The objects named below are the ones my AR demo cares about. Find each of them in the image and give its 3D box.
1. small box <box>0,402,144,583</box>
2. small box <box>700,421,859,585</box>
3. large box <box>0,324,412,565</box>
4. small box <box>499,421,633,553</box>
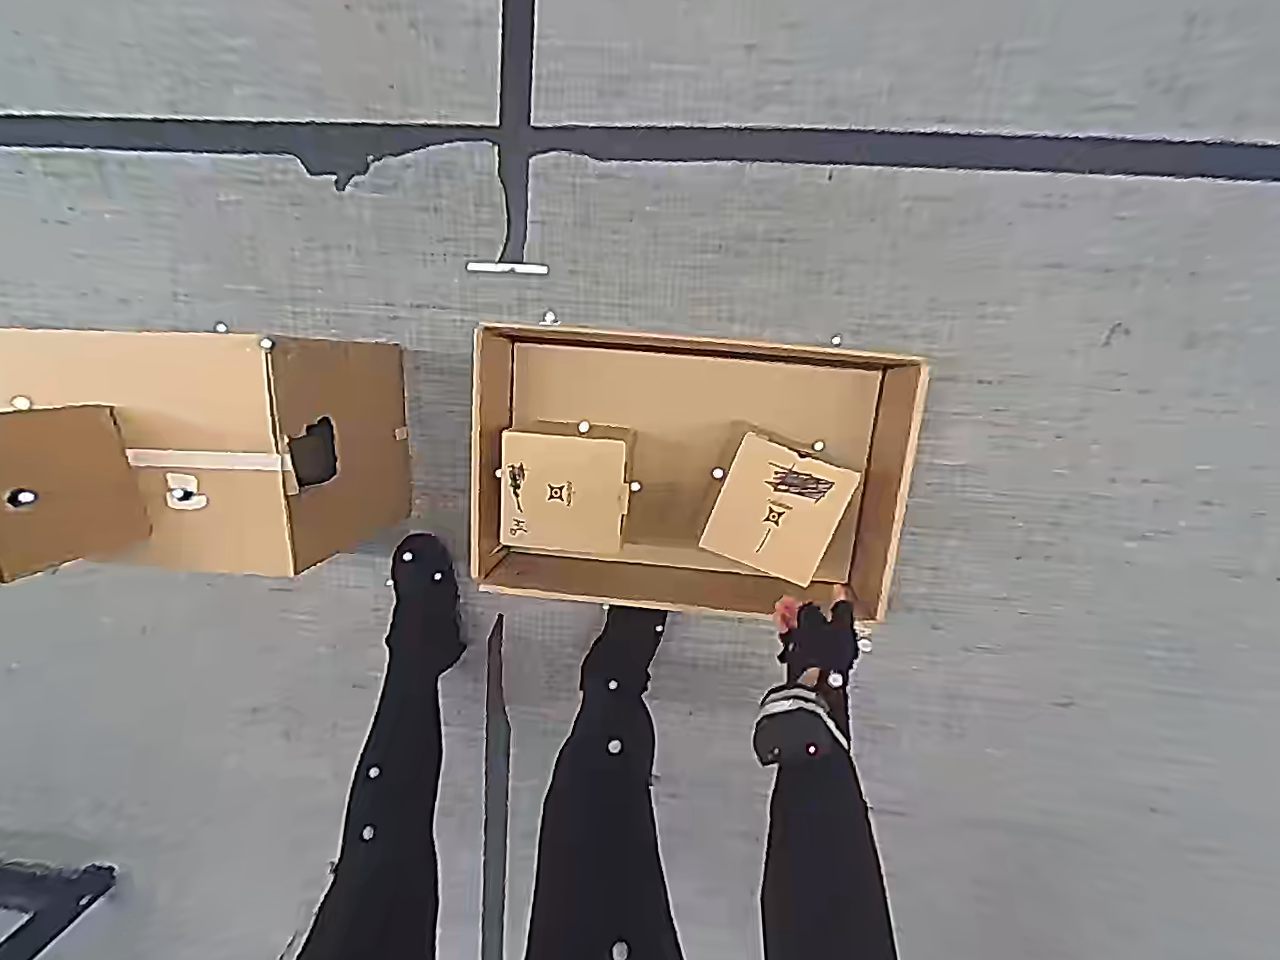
[{"bbox_3d":[-0.732,0.012,0.617,0.168,0.176,0.179,-6,101,5],"label":"small box"},{"bbox_3d":[0.193,0.023,0.811,0.168,0.176,0.179,21,103,1],"label":"small box"},{"bbox_3d":[-0.627,-0.070,0.841,0.408,0.320,0.320,1,103,4],"label":"large box"},{"bbox_3d":[-0.105,0.001,0.829,0.179,0.176,0.168,5,101,1],"label":"small box"}]
